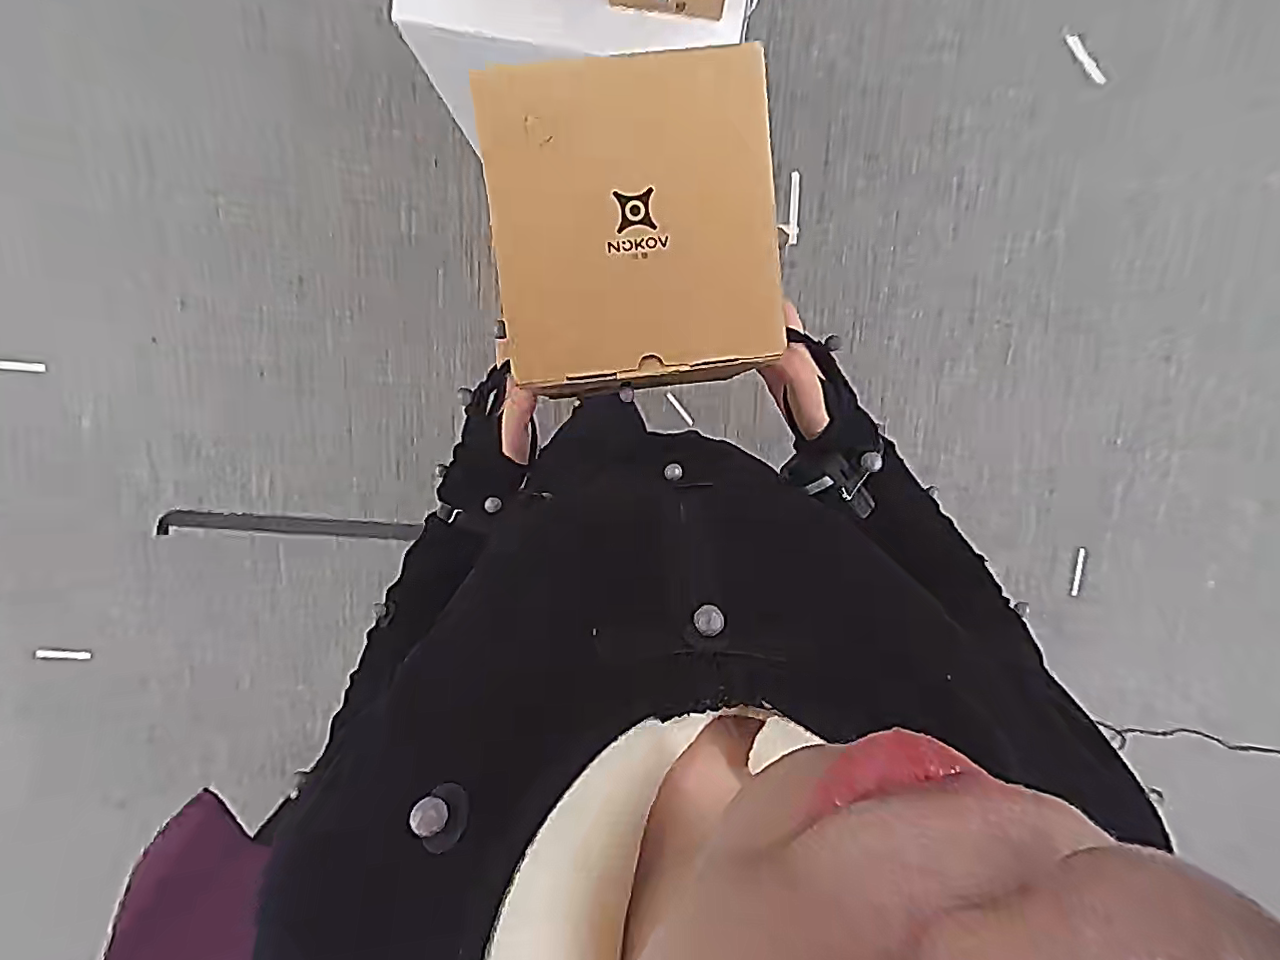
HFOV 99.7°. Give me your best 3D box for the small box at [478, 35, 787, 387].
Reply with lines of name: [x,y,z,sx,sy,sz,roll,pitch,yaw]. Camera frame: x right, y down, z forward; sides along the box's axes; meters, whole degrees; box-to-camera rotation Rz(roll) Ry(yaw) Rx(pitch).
small box: [-0.006,-0.166,0.389,0.168,0.176,0.179,-7,98,-2]
